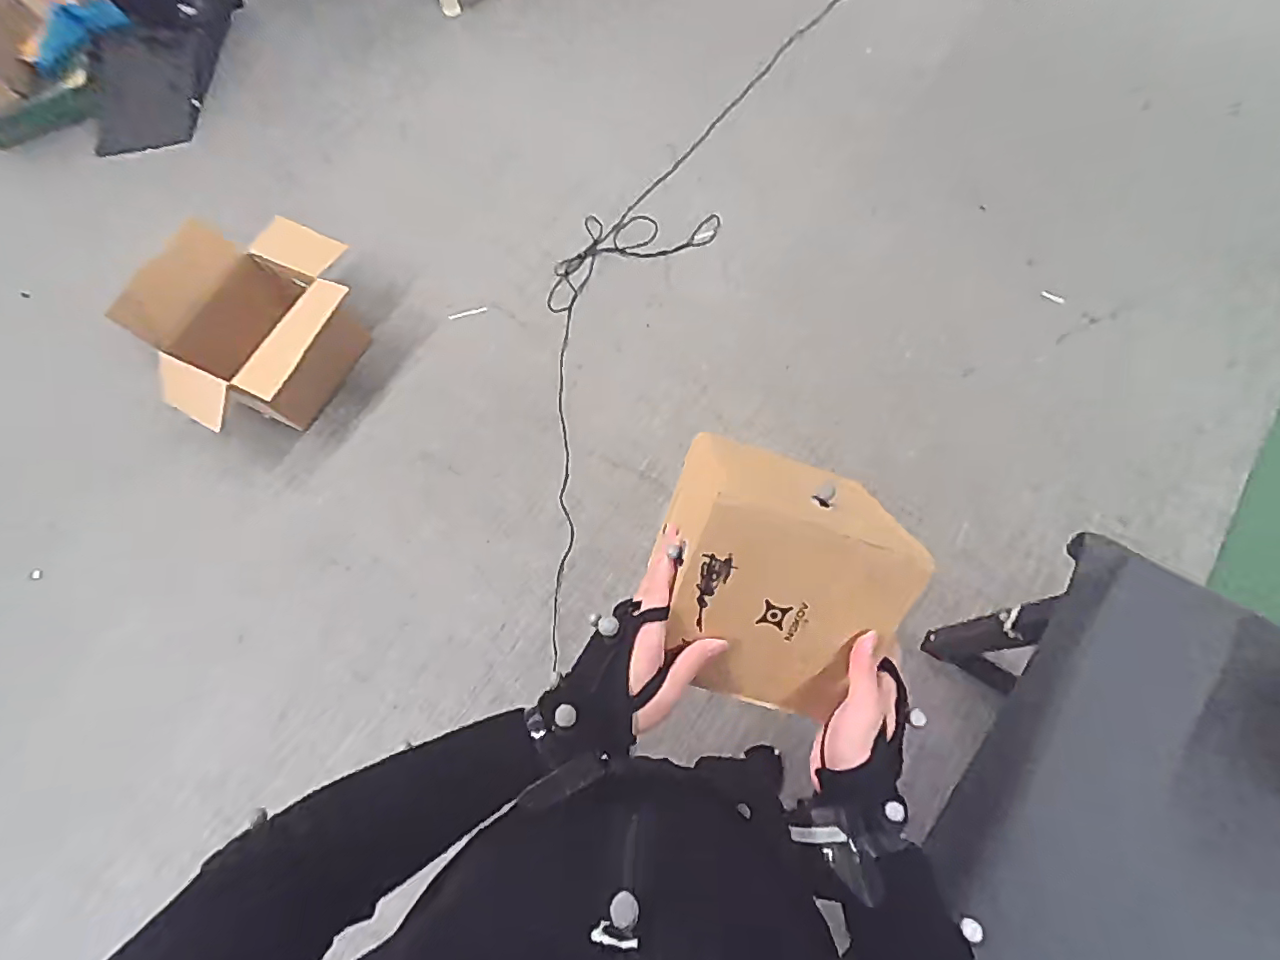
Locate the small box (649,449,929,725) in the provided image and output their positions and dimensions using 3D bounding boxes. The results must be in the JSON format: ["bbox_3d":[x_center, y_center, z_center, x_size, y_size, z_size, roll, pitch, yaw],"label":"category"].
[{"bbox_3d":[0.114,0.085,0.500,0.179,0.176,0.168,17,109,-4],"label":"small box"}]
